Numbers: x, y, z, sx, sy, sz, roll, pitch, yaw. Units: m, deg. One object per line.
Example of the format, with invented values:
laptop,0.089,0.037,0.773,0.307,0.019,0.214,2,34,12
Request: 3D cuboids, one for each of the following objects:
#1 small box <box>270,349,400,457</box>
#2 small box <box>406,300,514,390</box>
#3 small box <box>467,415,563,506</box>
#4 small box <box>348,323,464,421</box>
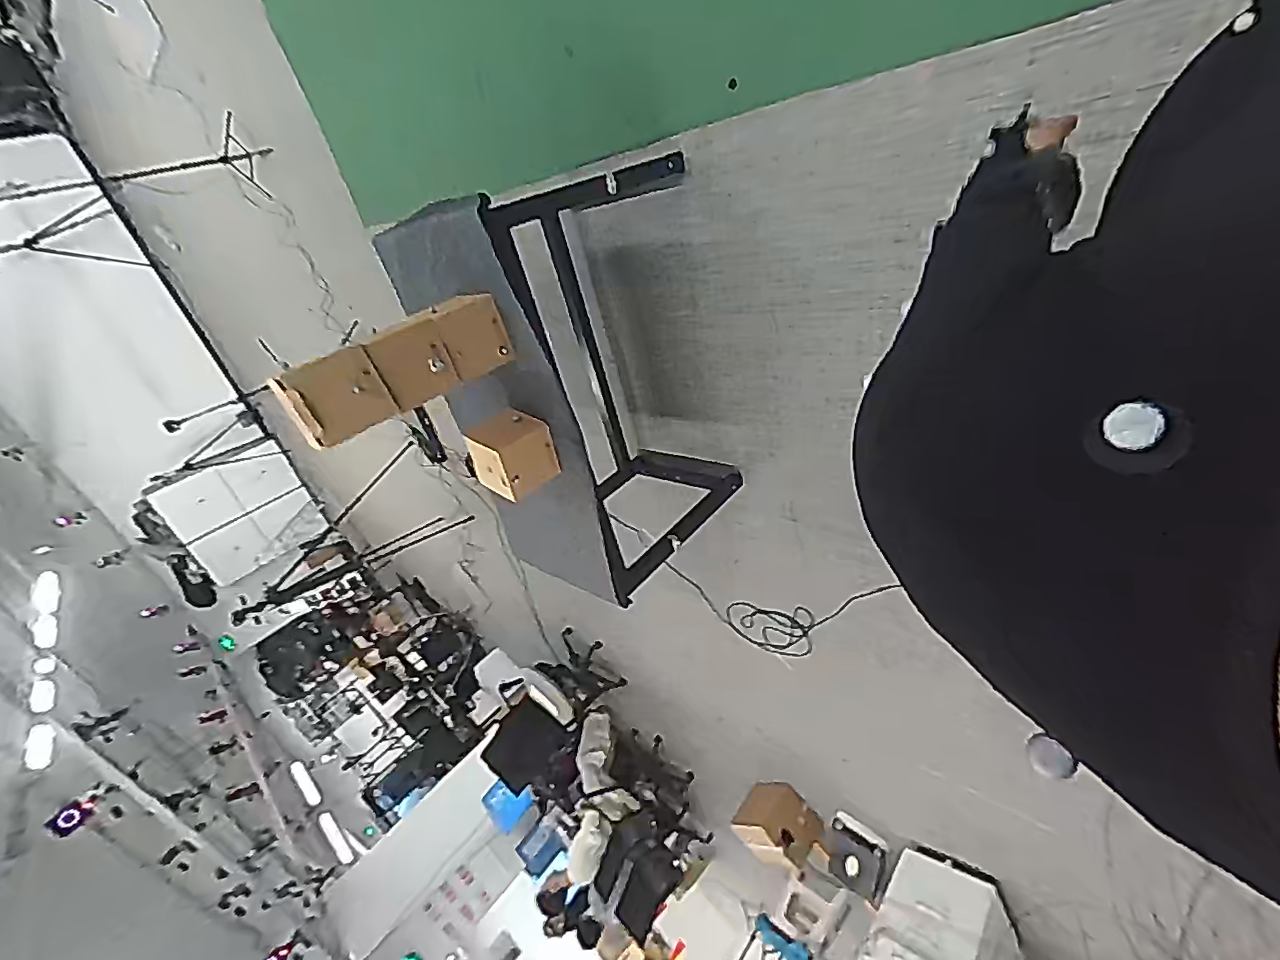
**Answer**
small box,-0.646,-0.167,1.157,0.179,0.176,0.168,8,129,48
small box,-0.436,-0.339,1.341,0.179,0.176,0.168,17,133,44
small box,-0.340,-0.061,1.489,0.179,0.176,0.168,24,137,38
small box,-0.541,-0.253,1.252,0.179,0.176,0.168,11,130,45
